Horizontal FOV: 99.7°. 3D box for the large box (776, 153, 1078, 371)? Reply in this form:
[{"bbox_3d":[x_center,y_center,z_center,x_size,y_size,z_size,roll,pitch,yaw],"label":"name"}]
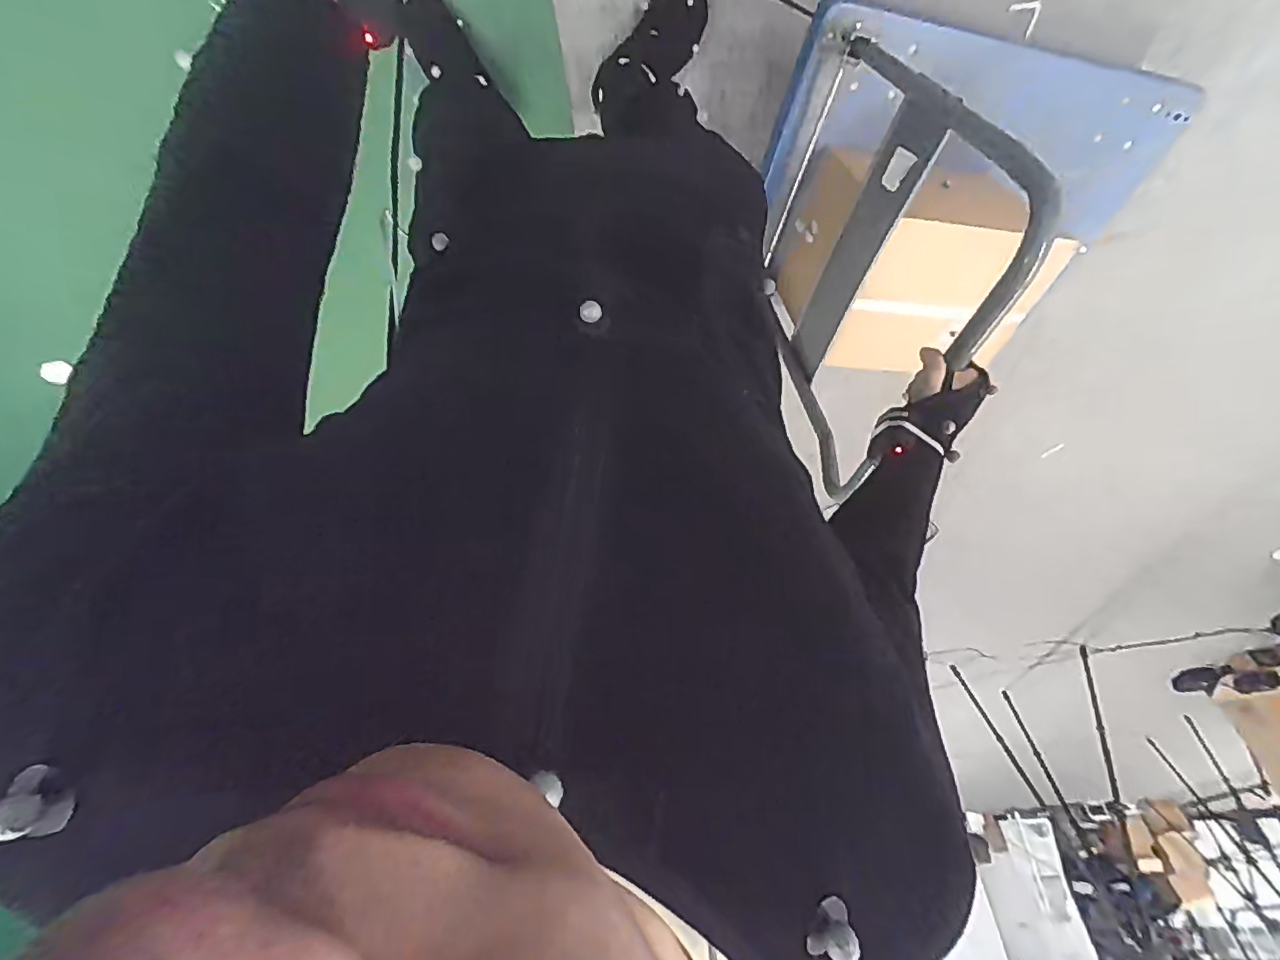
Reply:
[{"bbox_3d":[0.559,-0.453,1.145,0.408,0.320,0.320,0,141,-13],"label":"large box"}]
